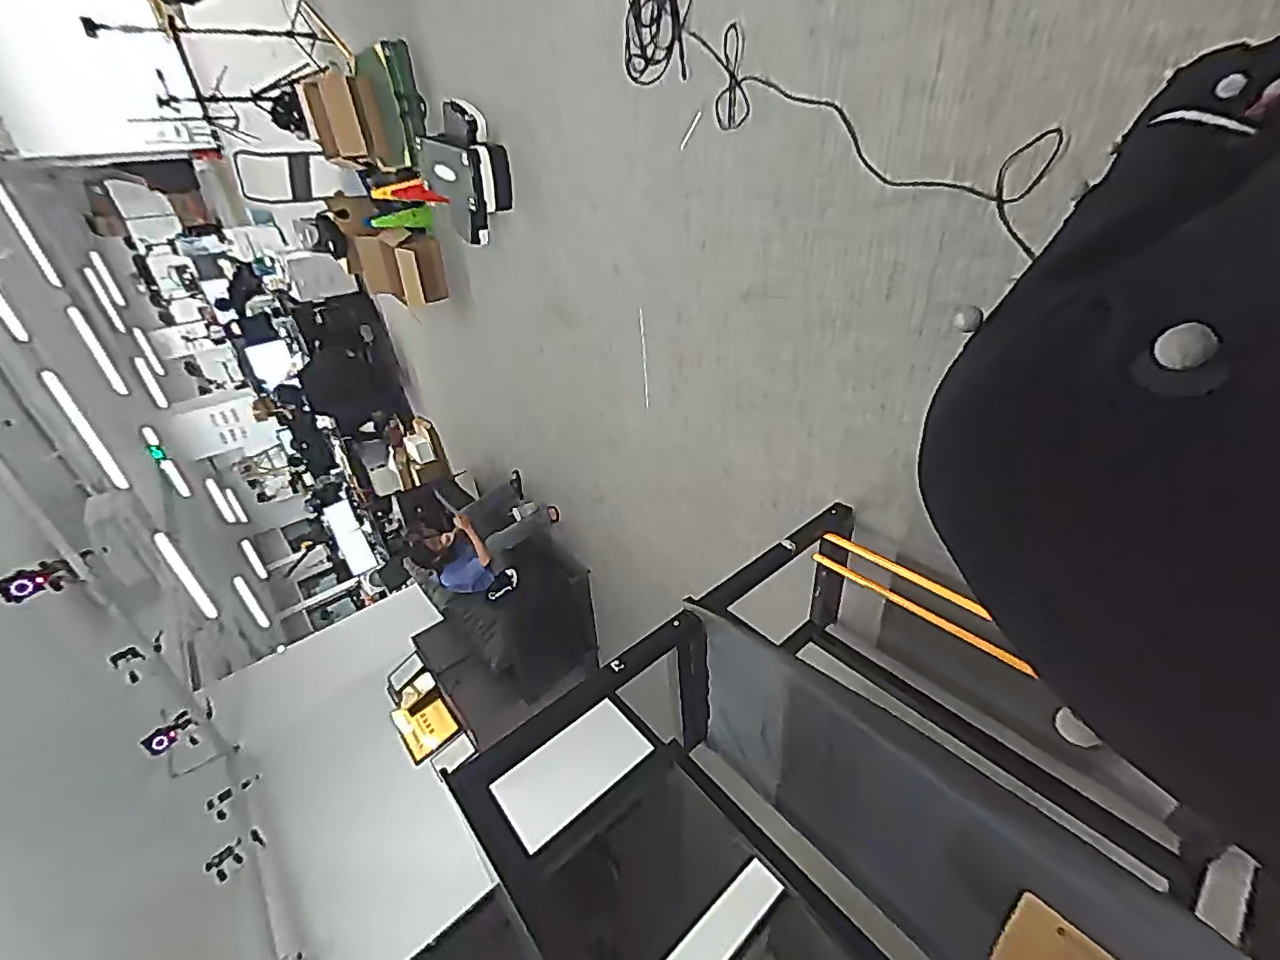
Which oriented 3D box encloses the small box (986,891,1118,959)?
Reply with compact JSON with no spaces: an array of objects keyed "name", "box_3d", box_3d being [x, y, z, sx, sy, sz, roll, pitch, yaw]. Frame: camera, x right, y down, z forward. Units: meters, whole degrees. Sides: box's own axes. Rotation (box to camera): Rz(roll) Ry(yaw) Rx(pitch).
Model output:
[{"name":"small box","box_3d":[0.707,0.869,0.932,0.168,0.176,0.179,29,136,44]}]
